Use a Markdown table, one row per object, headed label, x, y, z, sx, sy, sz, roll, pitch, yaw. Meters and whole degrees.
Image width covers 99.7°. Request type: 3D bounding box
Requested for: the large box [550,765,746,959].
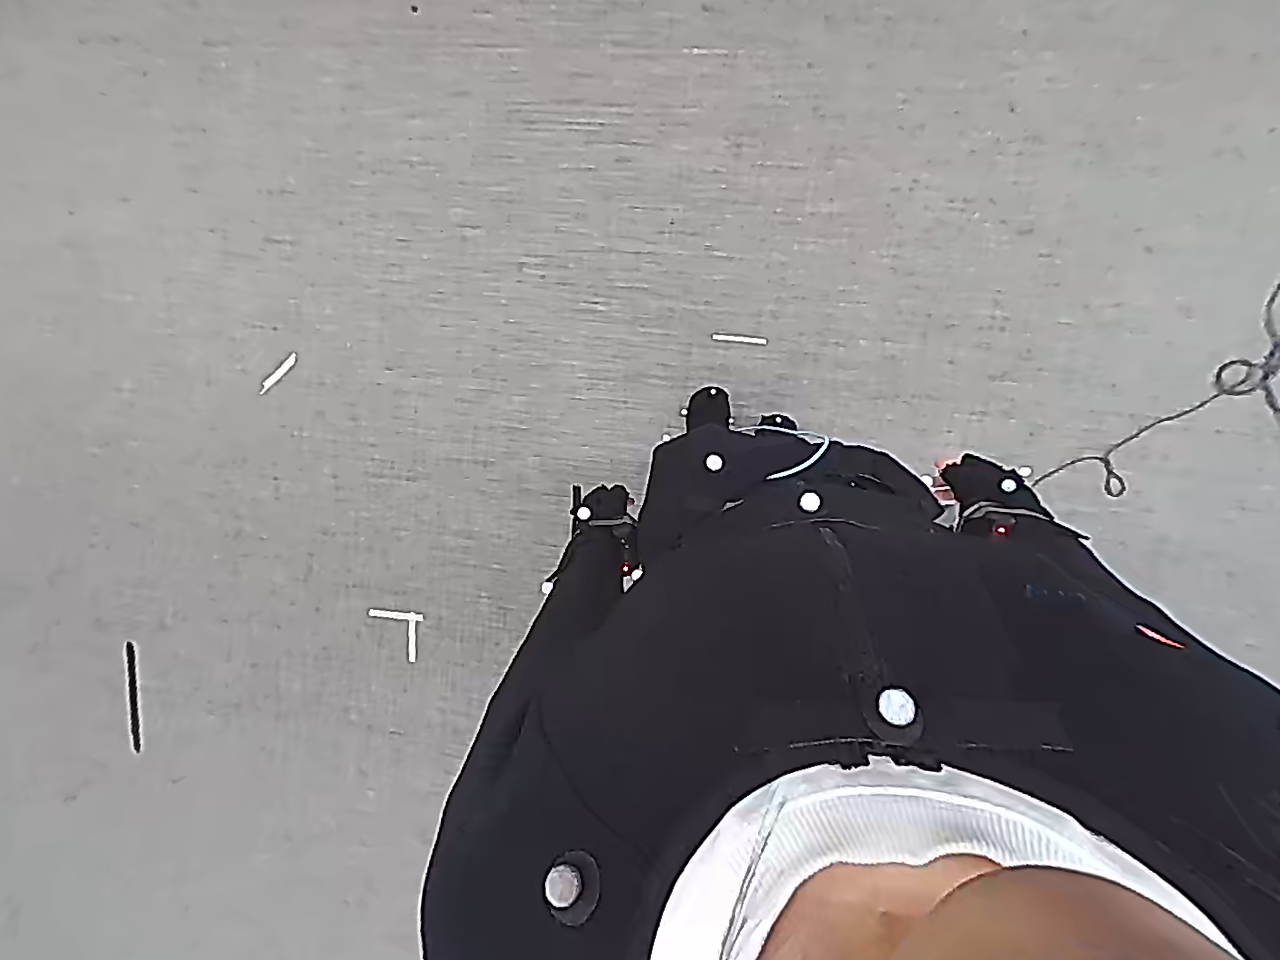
| label | x | y | z | sx | sy | sz | roll | pitch | yaw |
| --- | --- | --- | --- | --- | --- | --- | --- | --- | --- |
| large box | 0.036 | 1.071 | 1.458 | 0.408 | 0.320 | 0.320 | 27 | 99 | 5 |
